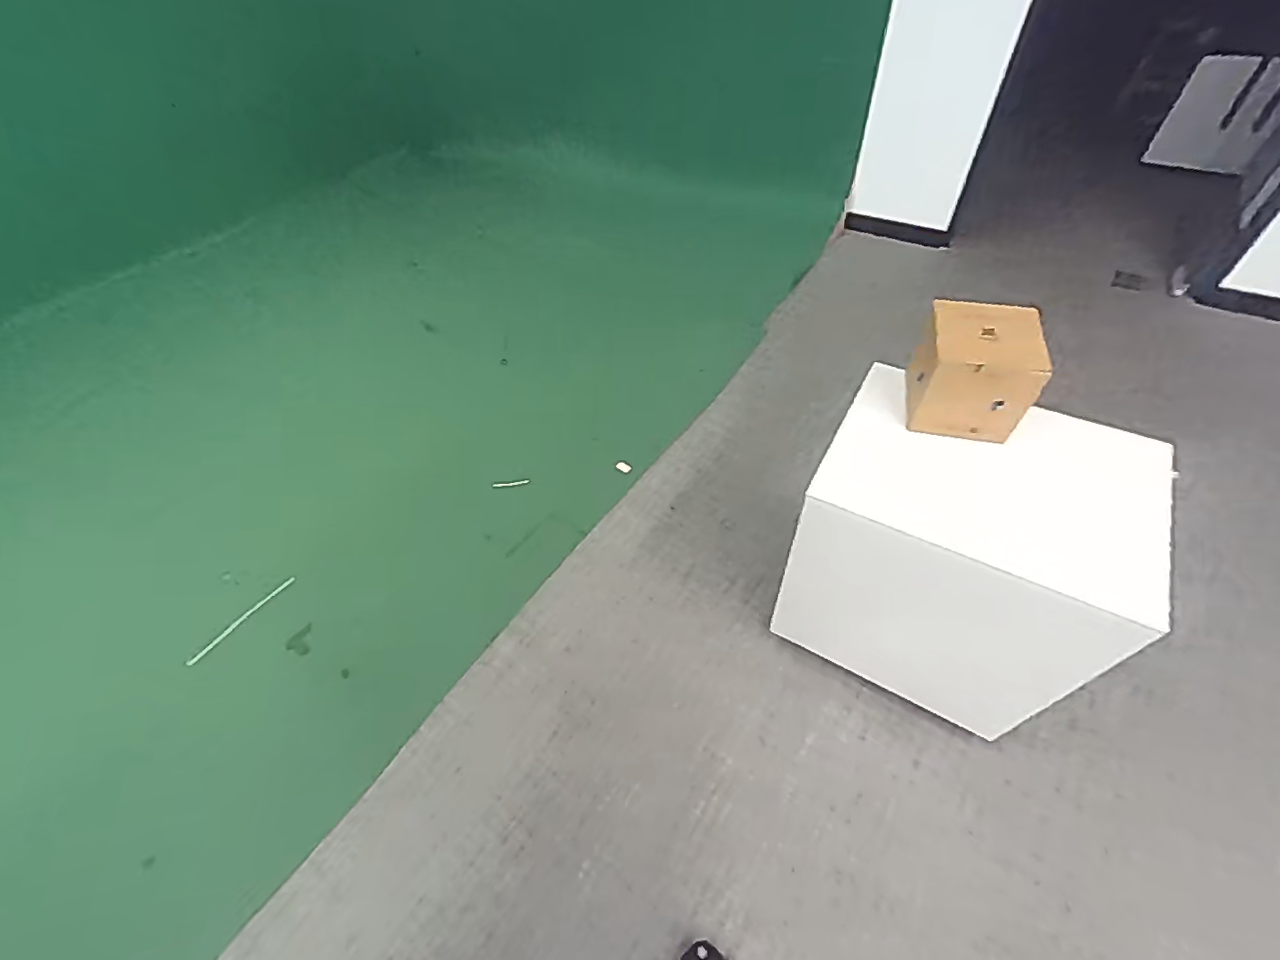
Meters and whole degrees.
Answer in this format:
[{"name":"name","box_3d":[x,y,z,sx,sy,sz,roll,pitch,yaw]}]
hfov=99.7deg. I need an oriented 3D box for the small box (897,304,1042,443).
[{"name":"small box","box_3d":[0.571,-0.187,0.963,0.168,0.176,0.179,10,52,11]}]
